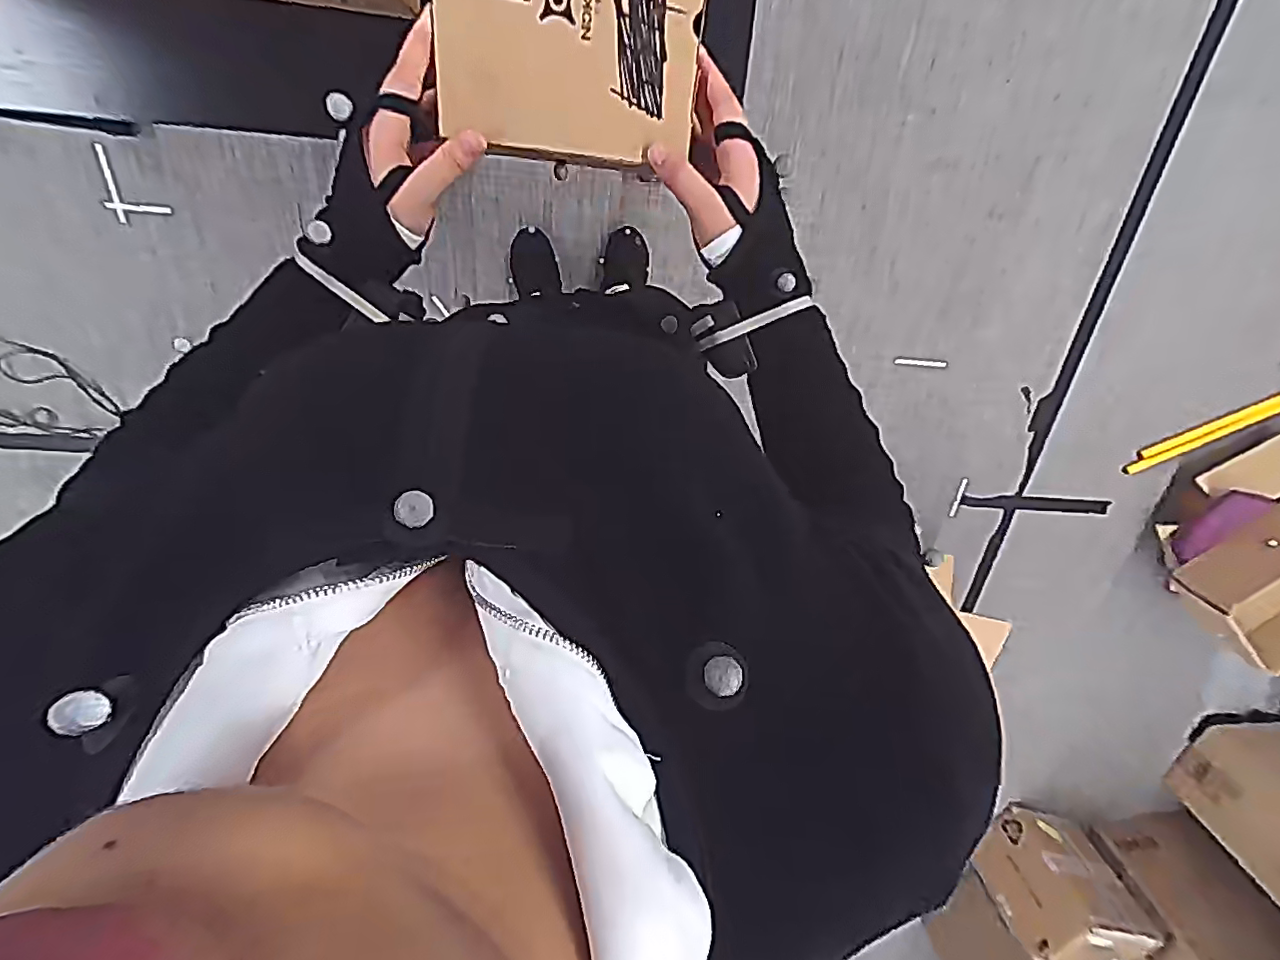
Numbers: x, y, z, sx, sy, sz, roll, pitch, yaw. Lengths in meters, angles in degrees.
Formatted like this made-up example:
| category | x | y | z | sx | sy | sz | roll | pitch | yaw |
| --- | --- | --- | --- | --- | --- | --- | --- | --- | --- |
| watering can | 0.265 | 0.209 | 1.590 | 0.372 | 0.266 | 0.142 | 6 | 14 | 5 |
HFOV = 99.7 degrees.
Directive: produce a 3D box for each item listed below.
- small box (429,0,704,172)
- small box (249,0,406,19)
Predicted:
| category | x | y | z | sx | sy | sz | roll | pitch | yaw |
| --- | --- | --- | --- | --- | --- | --- | --- | --- | --- |
| small box | -0.051 | -0.342 | 0.415 | 0.179 | 0.176 | 0.168 | 4 | 118 | -5 |
| small box | -0.294 | -0.501 | 0.429 | 0.179 | 0.176 | 0.168 | 3 | 115 | -5 |
